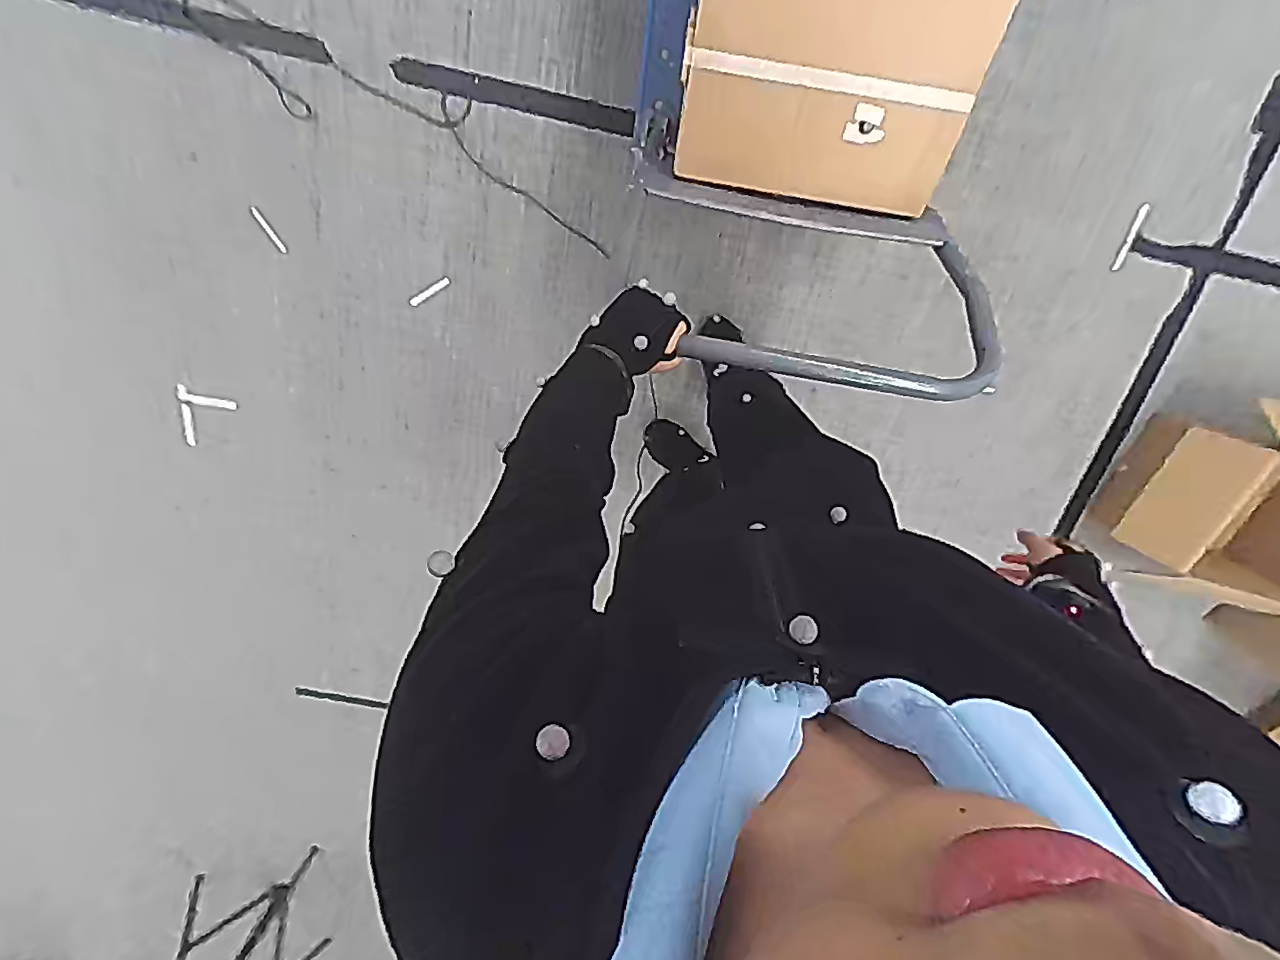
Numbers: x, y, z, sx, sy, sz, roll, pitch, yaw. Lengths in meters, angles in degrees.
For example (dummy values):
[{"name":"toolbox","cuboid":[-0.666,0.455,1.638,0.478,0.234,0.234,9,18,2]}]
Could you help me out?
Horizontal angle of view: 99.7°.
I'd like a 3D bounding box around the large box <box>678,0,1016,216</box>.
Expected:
[{"name":"large box","cuboid":[0.285,-0.665,0.876,0.408,0.320,0.320,9,134,-1]}]
